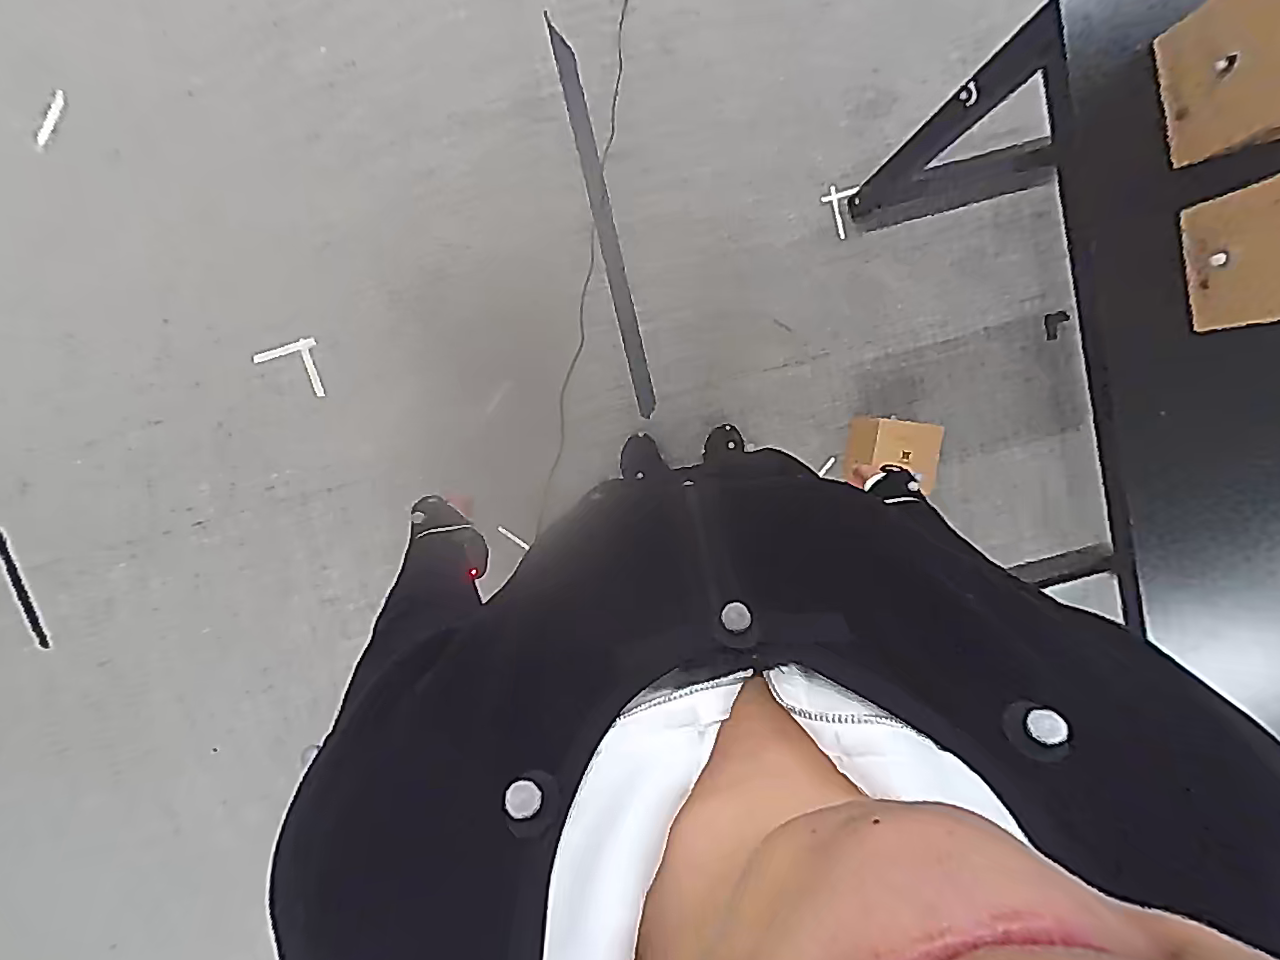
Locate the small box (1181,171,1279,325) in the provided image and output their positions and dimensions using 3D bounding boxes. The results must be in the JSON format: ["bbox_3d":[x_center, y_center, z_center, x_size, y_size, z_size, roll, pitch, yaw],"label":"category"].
[{"bbox_3d":[0.828,-0.299,0.655,0.179,0.176,0.168,-14,97,2],"label":"small box"}]

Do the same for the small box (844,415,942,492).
[{"bbox_3d":[0.654,-0.074,1.418,0.168,0.176,0.179,7,96,-2],"label":"small box"}]
